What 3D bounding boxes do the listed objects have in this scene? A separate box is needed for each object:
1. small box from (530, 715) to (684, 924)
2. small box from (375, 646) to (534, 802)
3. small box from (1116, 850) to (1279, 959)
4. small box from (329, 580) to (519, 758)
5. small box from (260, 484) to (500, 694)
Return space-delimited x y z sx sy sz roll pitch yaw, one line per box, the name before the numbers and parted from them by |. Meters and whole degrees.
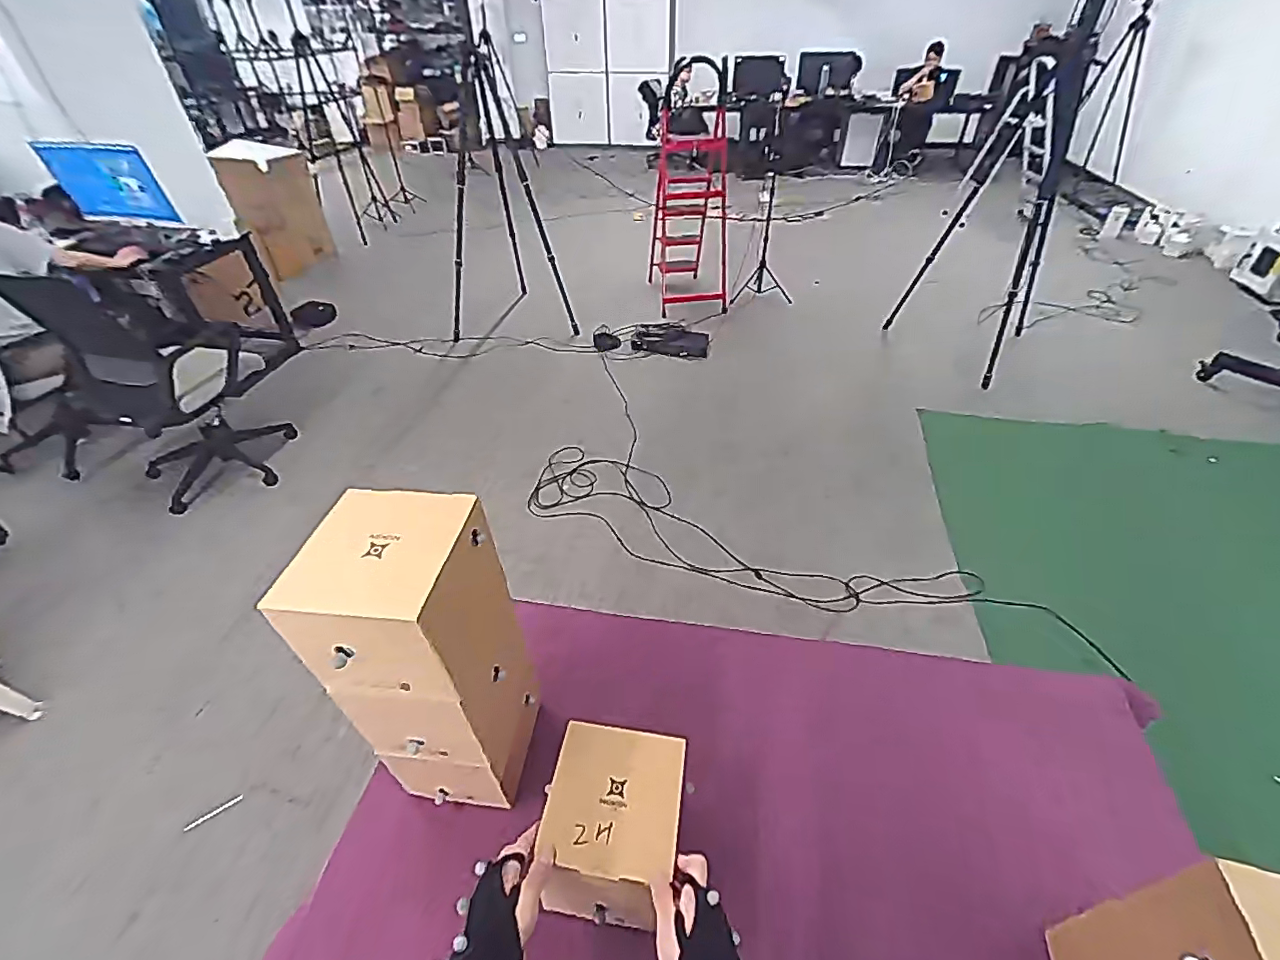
small box | -0.037 0.453 0.728 0.168 0.176 0.179 6 38 7
small box | -0.272 0.371 0.844 0.168 0.176 0.179 4 42 6
small box | 0.570 0.465 0.465 0.168 0.176 0.179 8 41 12
small box | -0.273 0.248 0.737 0.168 0.176 0.179 3 42 6
small box | -0.277 0.126 0.629 0.168 0.176 0.179 3 41 6
